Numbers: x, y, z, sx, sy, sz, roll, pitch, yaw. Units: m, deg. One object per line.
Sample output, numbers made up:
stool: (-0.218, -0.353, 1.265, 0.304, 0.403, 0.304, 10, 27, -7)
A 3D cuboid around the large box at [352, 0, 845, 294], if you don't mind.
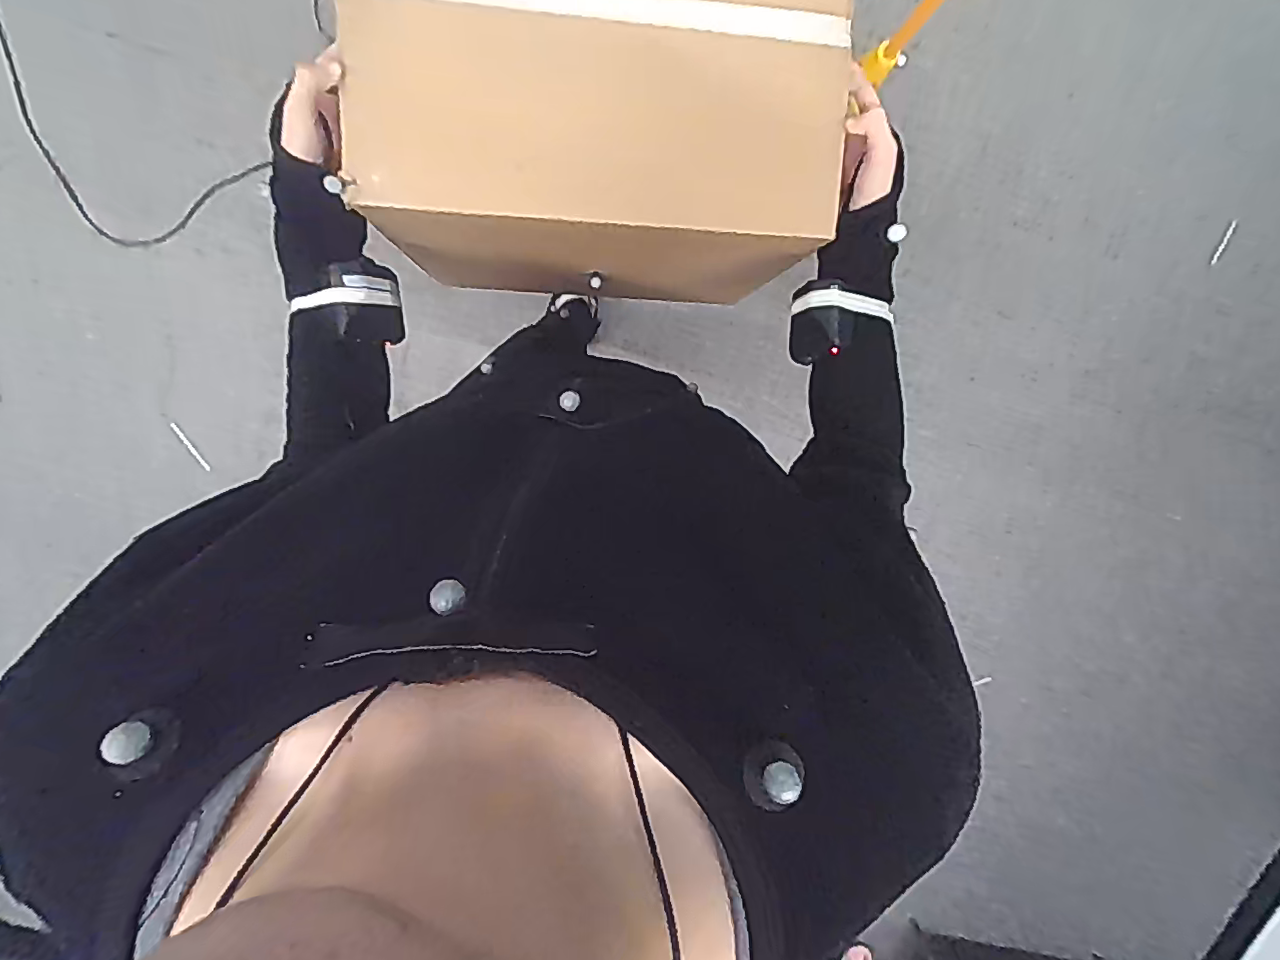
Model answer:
large box: (-0.039, -0.392, 0.585, 0.408, 0.320, 0.320, 1, 97, -6)
